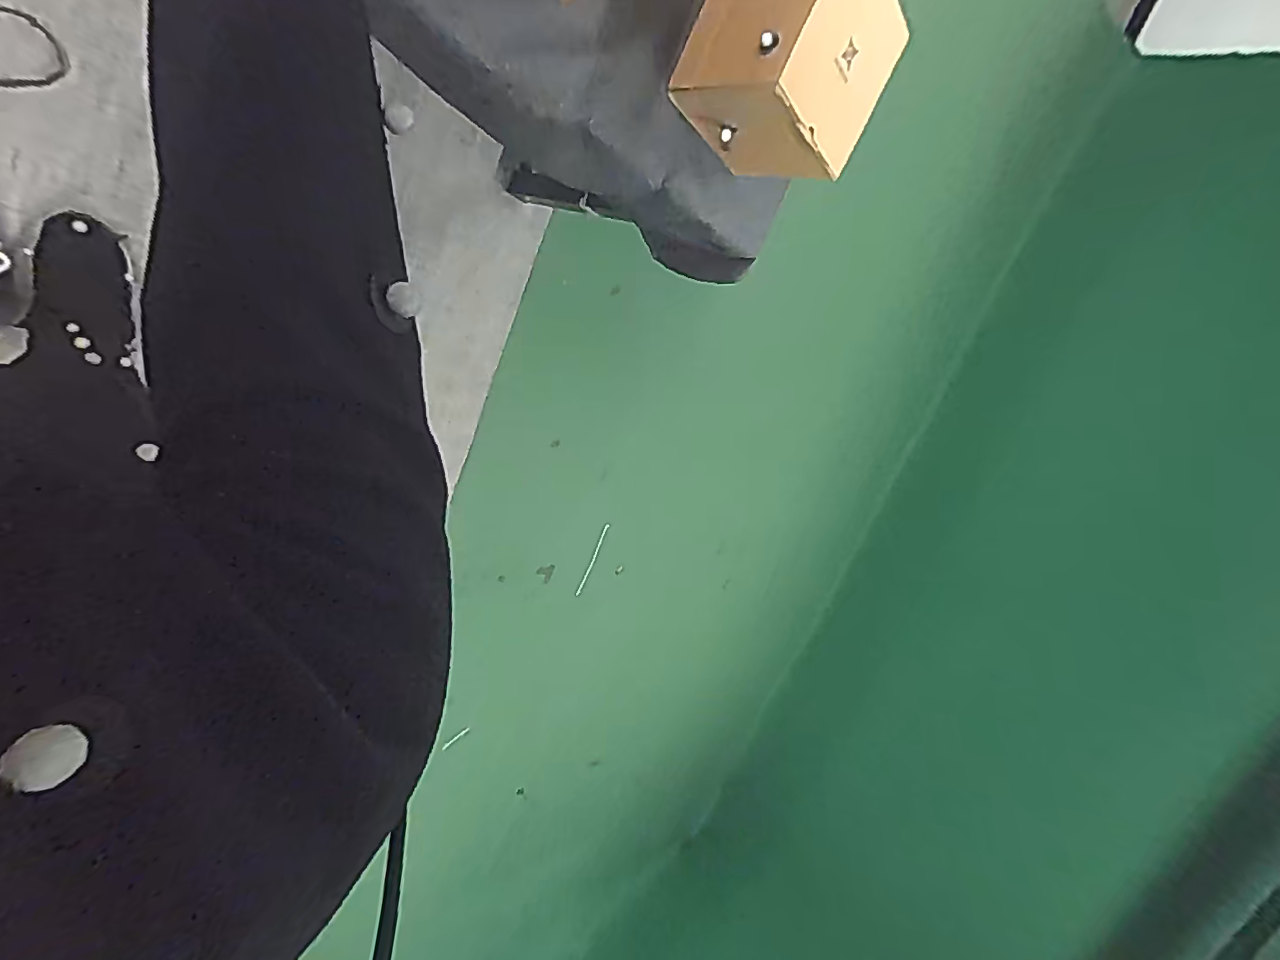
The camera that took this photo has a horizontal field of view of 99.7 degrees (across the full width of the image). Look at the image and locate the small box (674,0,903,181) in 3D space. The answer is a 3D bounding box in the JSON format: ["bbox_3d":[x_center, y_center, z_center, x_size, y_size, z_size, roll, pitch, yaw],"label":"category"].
[{"bbox_3d":[0.169,-0.489,0.636,0.168,0.176,0.179,15,105,-49],"label":"small box"}]
